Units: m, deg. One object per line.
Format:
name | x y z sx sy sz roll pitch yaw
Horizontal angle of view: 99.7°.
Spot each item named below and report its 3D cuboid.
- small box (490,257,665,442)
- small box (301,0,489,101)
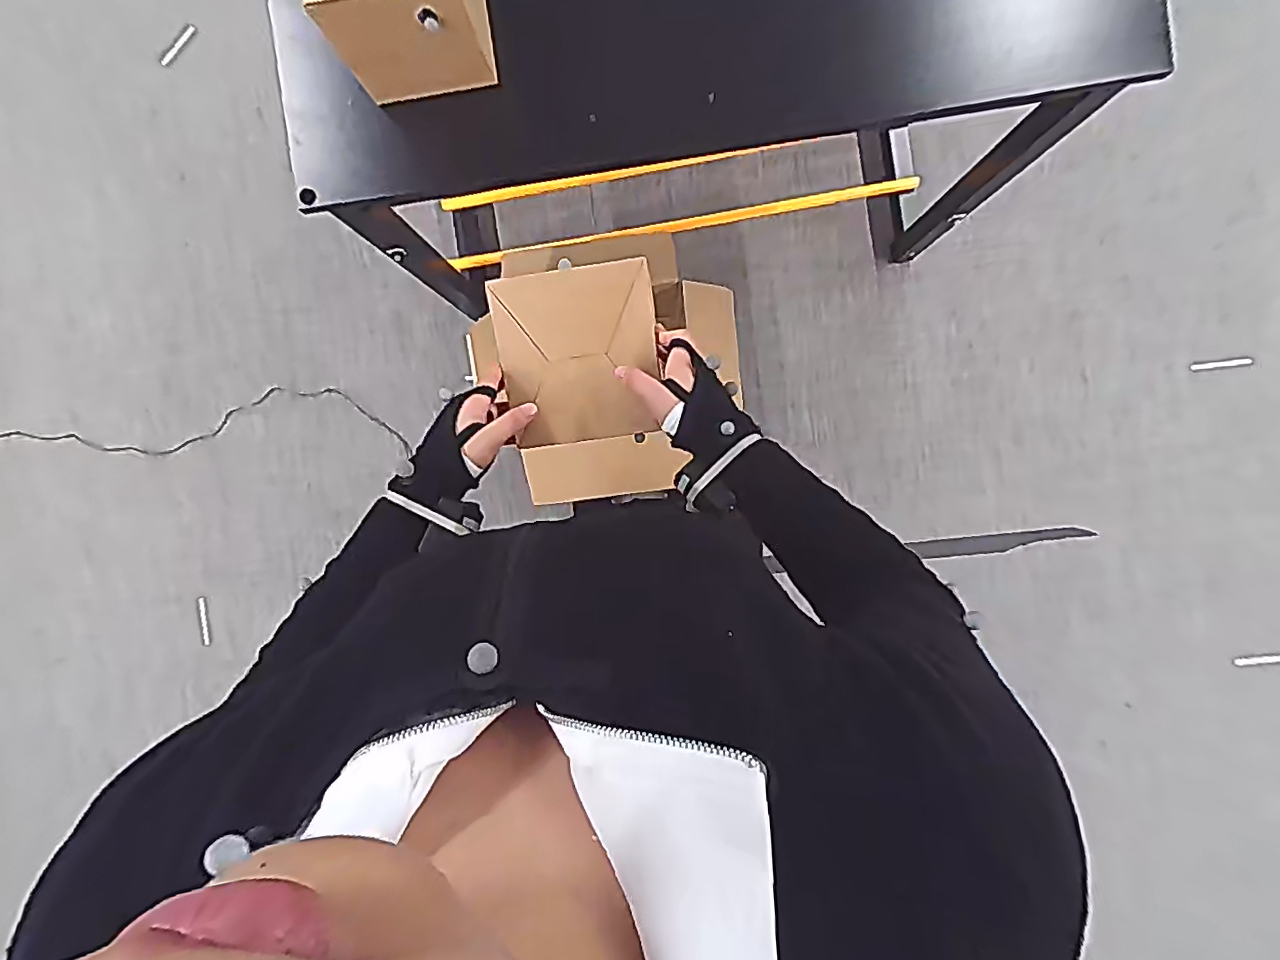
small box | -0.063 -0.149 0.638 0.168 0.176 0.179 -7 105 4
small box | -0.298 -0.618 0.674 0.179 0.176 0.168 -8 91 2
